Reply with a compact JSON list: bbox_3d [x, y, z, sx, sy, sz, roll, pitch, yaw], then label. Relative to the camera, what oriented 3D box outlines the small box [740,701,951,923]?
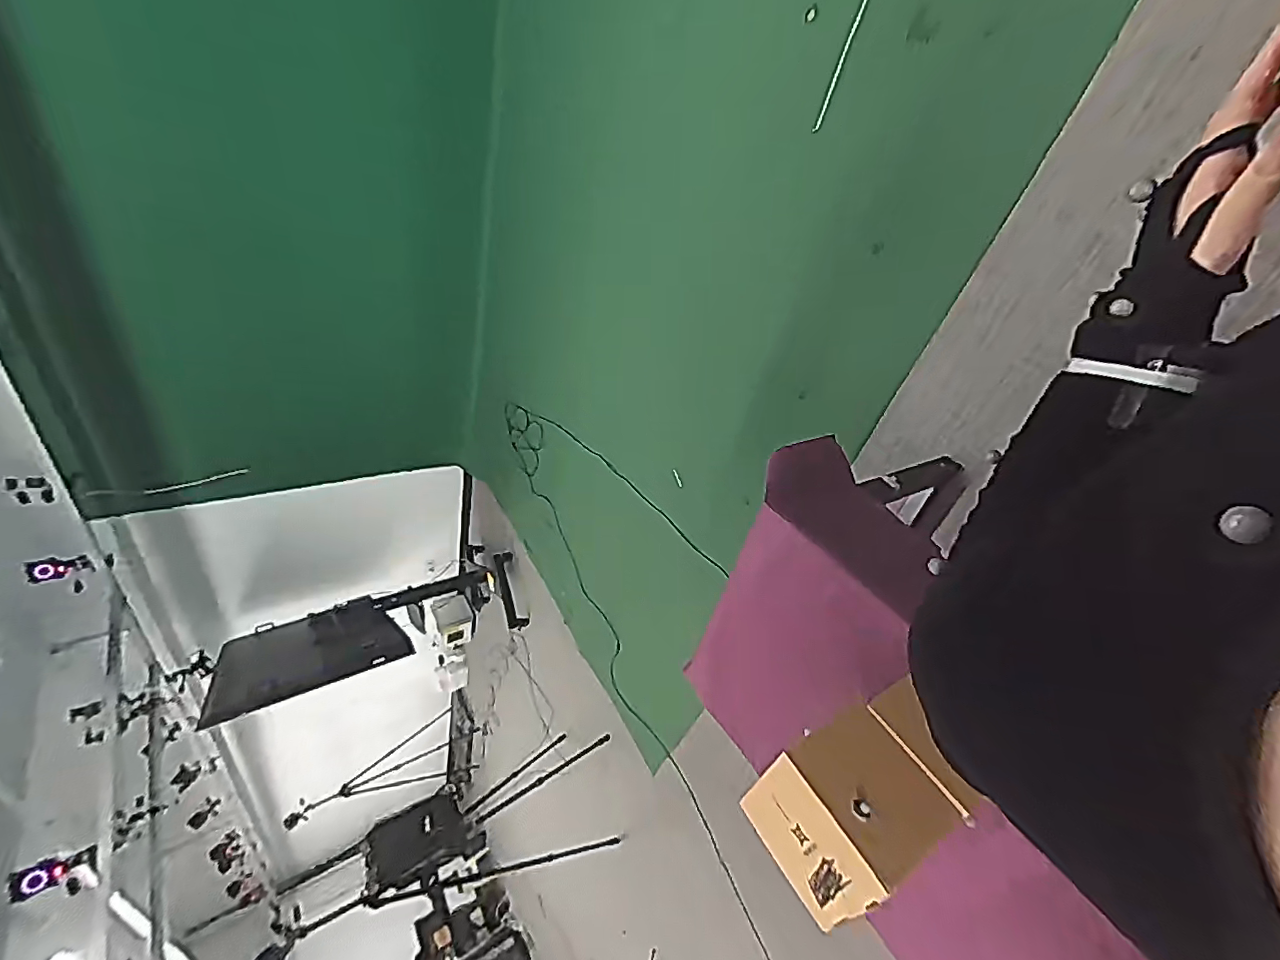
[{"bbox_3d":[0.277,0.442,0.740,0.179,0.176,0.168,50,137,35],"label":"small box"}]

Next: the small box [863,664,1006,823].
[{"bbox_3d":[0.415,0.415,0.826,0.168,0.176,0.179,49,137,35],"label":"small box"}]
